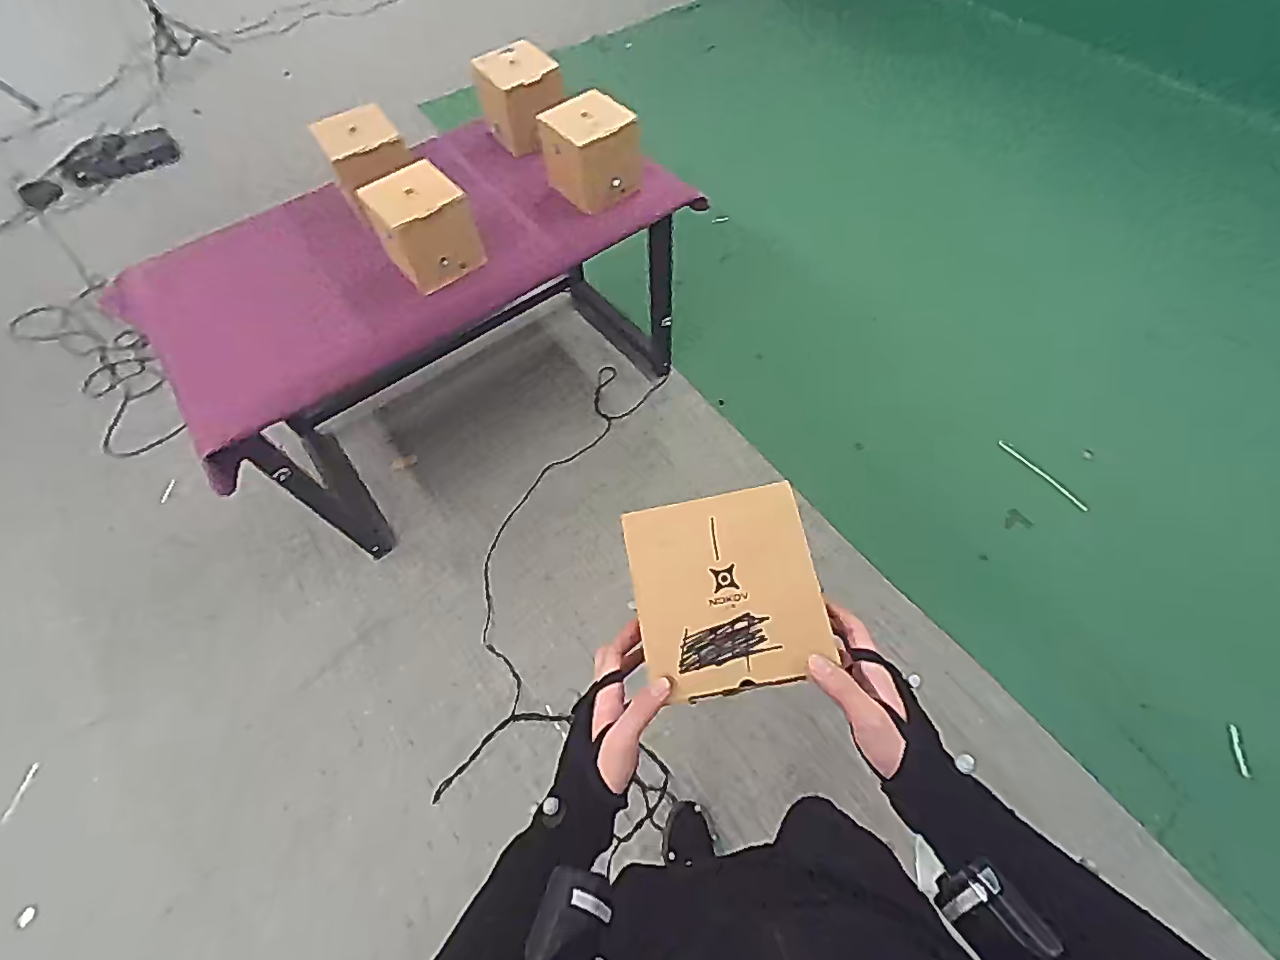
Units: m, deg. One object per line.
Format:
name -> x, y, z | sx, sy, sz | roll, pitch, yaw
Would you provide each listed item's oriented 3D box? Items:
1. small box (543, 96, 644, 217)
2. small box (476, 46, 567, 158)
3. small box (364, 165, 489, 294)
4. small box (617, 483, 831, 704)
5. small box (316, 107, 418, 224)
small box -> -0.106, -0.769, 1.293 | 0.168, 0.176, 0.179 | -35, 65, -14
small box -> -0.299, -0.985, 1.422 | 0.168, 0.176, 0.179 | -33, 68, -15
small box -> -0.460, -0.546, 1.188 | 0.168, 0.176, 0.179 | -36, 65, -17
small box -> 0.079, 0.122, 0.565 | 0.168, 0.176, 0.179 | -11, 71, 2
small box -> -0.638, -0.752, 1.309 | 0.168, 0.176, 0.179 | -31, 64, -15
